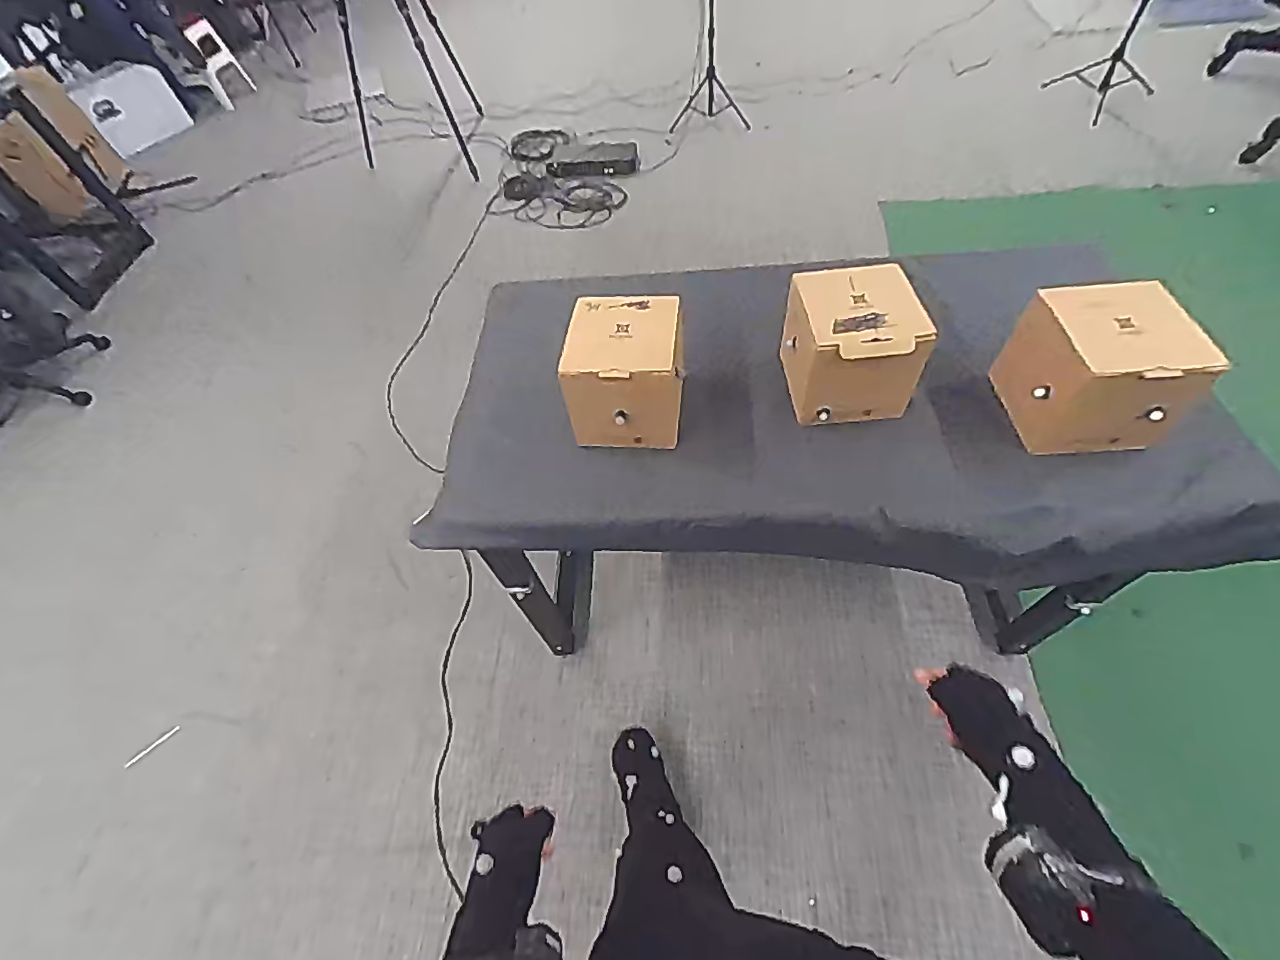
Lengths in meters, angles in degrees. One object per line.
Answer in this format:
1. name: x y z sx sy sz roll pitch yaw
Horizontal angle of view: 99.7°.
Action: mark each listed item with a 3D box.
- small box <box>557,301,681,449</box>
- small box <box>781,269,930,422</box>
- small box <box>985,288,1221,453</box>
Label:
1. small box: -0.022 -0.165 0.873 0.168 0.176 0.179 2 55 8
2. small box: 0.327 -0.205 0.862 0.168 0.176 0.179 -4 53 3
3. small box: 0.648 -0.151 0.788 0.168 0.176 0.179 -3 53 4
